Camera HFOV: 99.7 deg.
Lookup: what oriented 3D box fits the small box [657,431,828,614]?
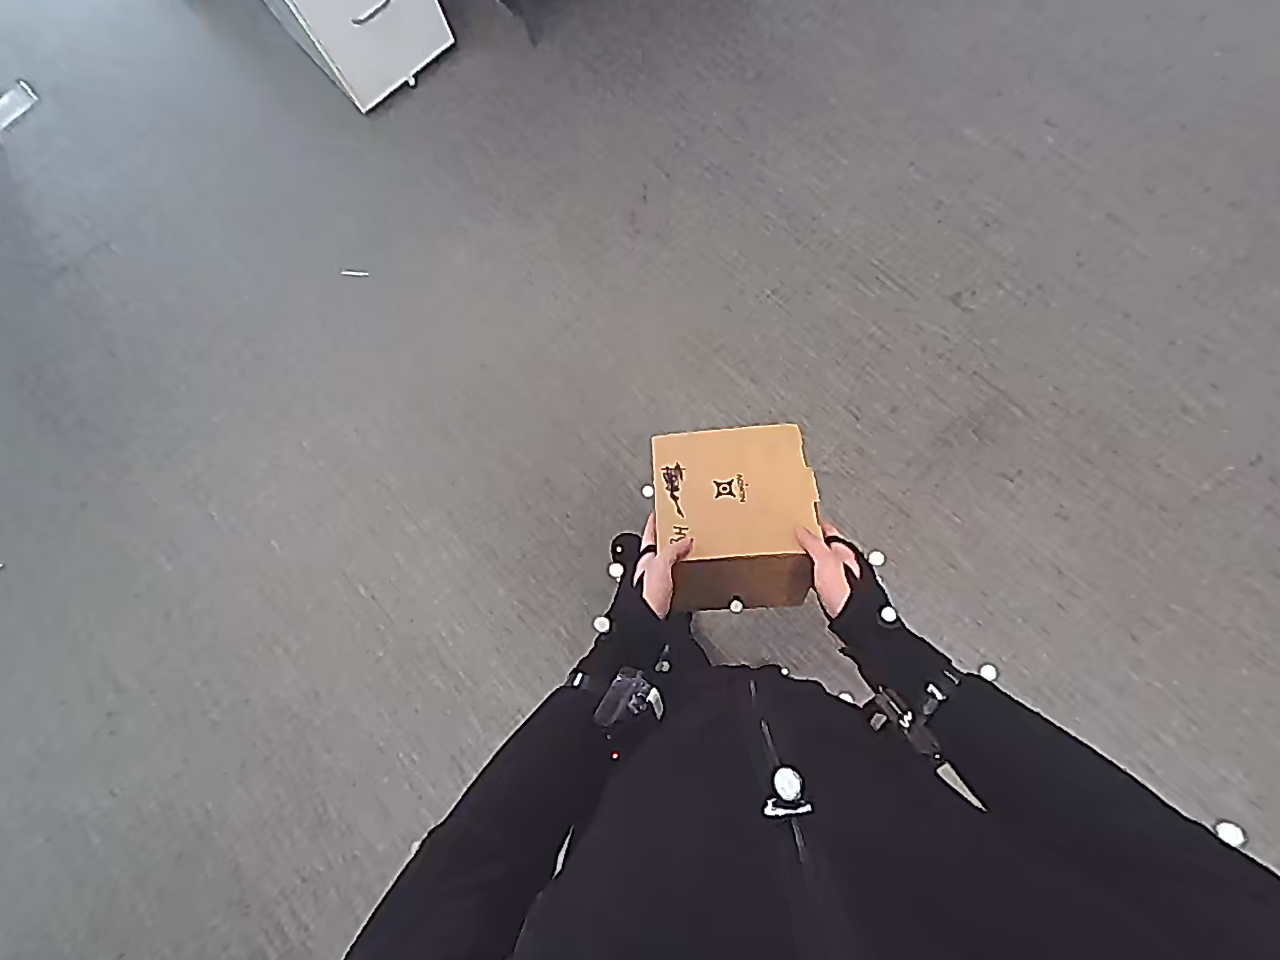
[{"bbox_3d":[0.113,0.059,0.669,0.179,0.176,0.168,-4,57,4],"label":"small box"}]
